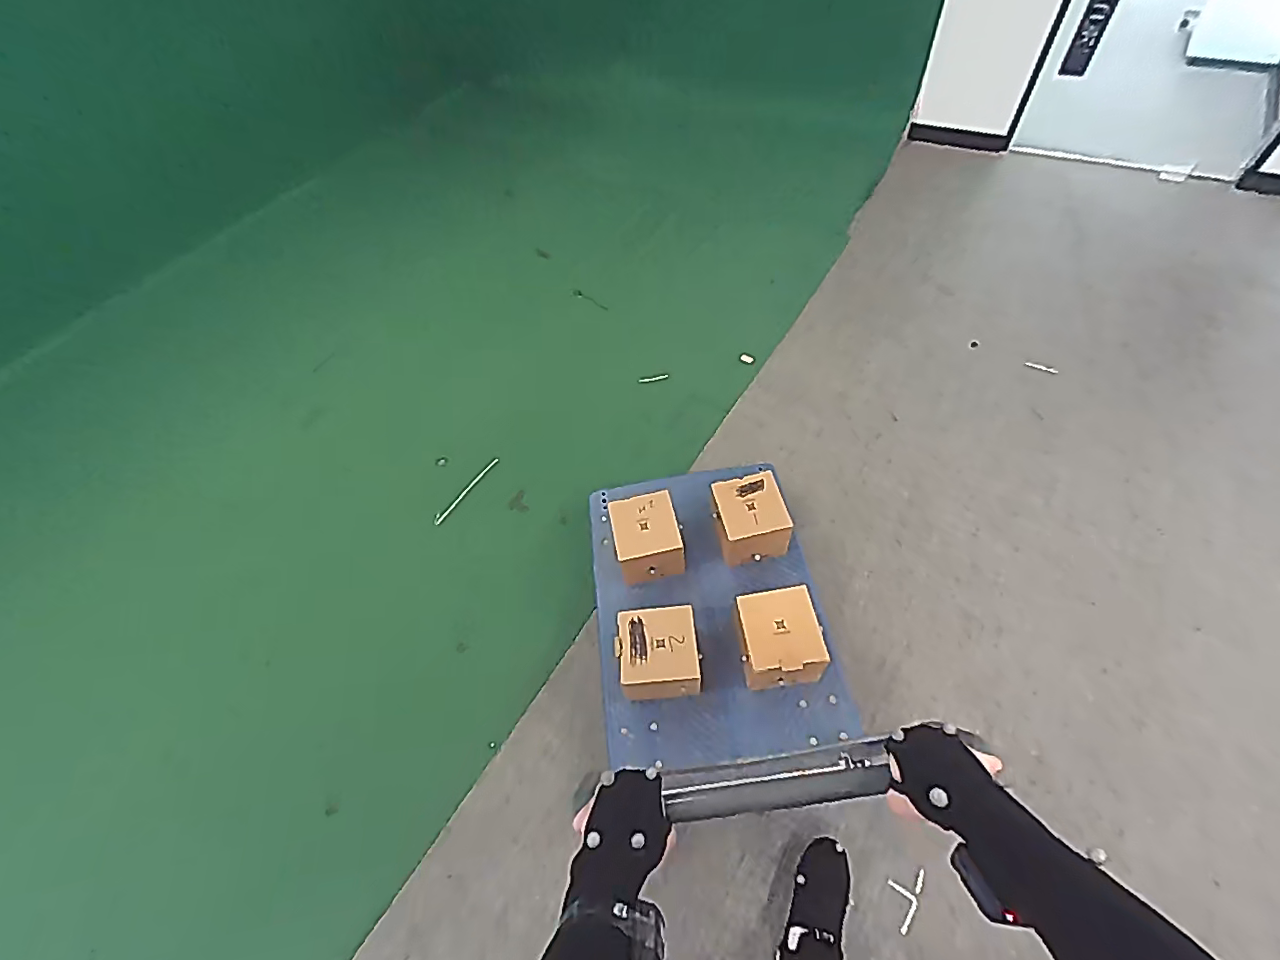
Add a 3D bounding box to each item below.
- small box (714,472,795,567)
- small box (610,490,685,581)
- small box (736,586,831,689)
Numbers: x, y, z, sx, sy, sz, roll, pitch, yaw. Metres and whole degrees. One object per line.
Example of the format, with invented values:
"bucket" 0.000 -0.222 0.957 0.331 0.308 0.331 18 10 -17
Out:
"small box" 0.295 0.107 1.437 0.168 0.176 0.179 -13 57 -1
"small box" 0.023 0.156 1.437 0.168 0.176 0.179 -11 56 -2
"small box" 0.323 0.370 1.260 0.168 0.176 0.179 -9 57 1
